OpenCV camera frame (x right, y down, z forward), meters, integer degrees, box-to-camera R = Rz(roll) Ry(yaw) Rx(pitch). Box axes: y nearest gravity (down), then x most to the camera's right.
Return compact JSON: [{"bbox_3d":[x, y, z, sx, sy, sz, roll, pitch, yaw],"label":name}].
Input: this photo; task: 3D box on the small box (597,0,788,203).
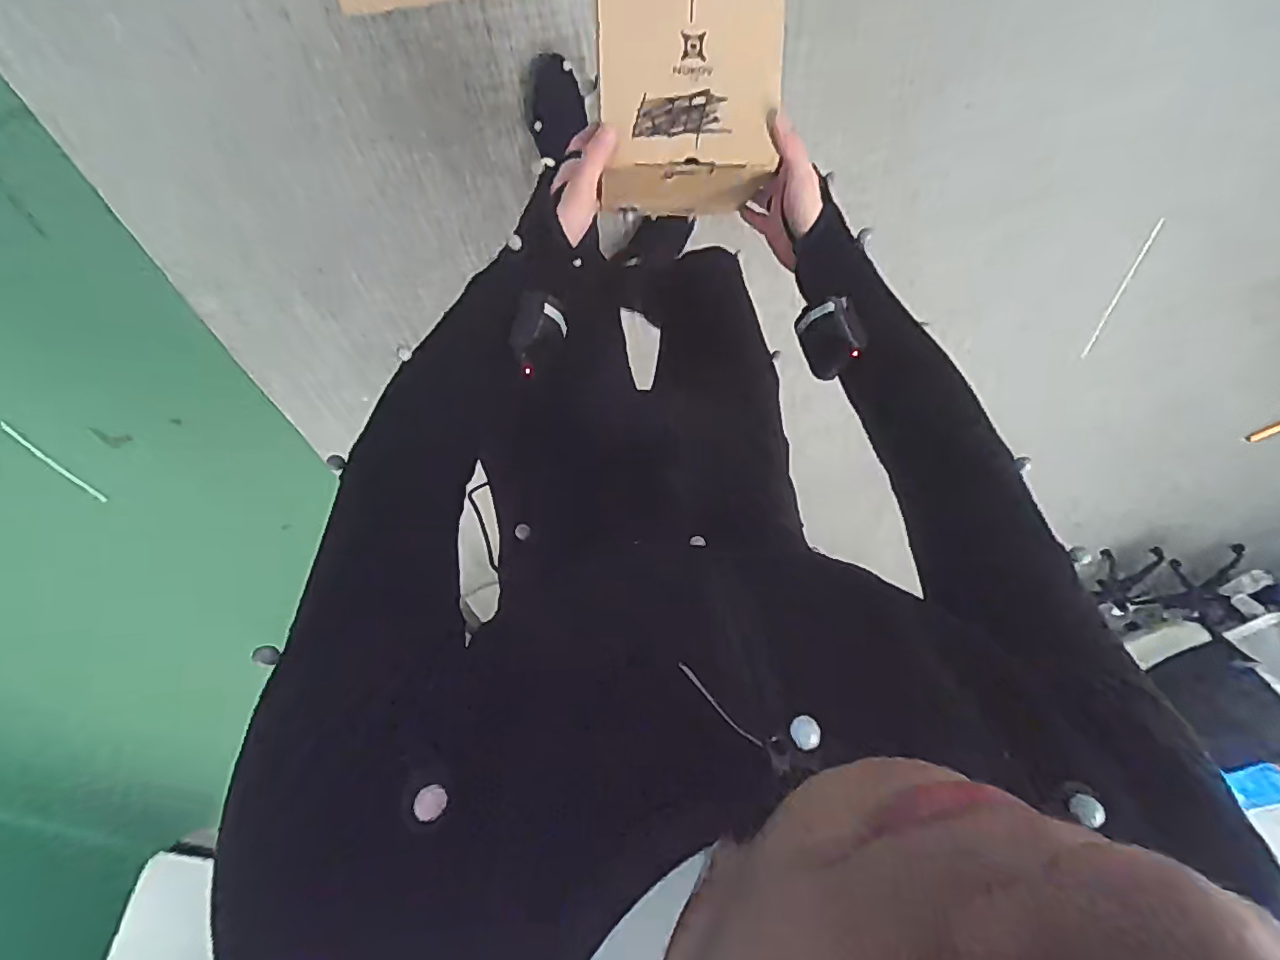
[{"bbox_3d":[0.041,-0.393,0.545,0.168,0.176,0.179,-2,101,-4],"label":"small box"}]
